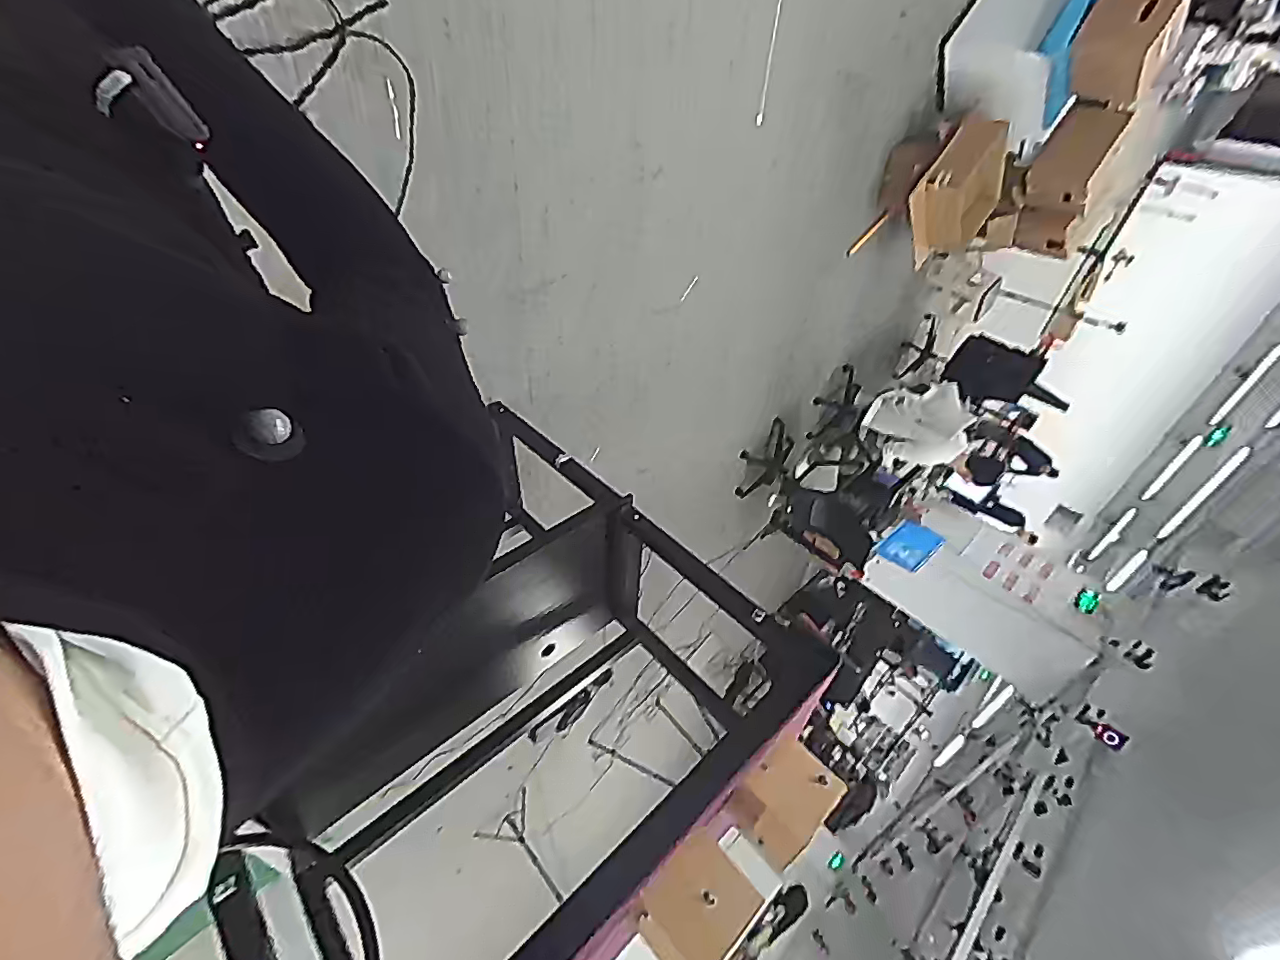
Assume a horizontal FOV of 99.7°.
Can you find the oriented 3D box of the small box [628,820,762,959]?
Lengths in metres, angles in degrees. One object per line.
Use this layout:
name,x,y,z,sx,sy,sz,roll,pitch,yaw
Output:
small box,0.097,0.801,1.023,0.179,0.176,0.168,-27,141,-37
